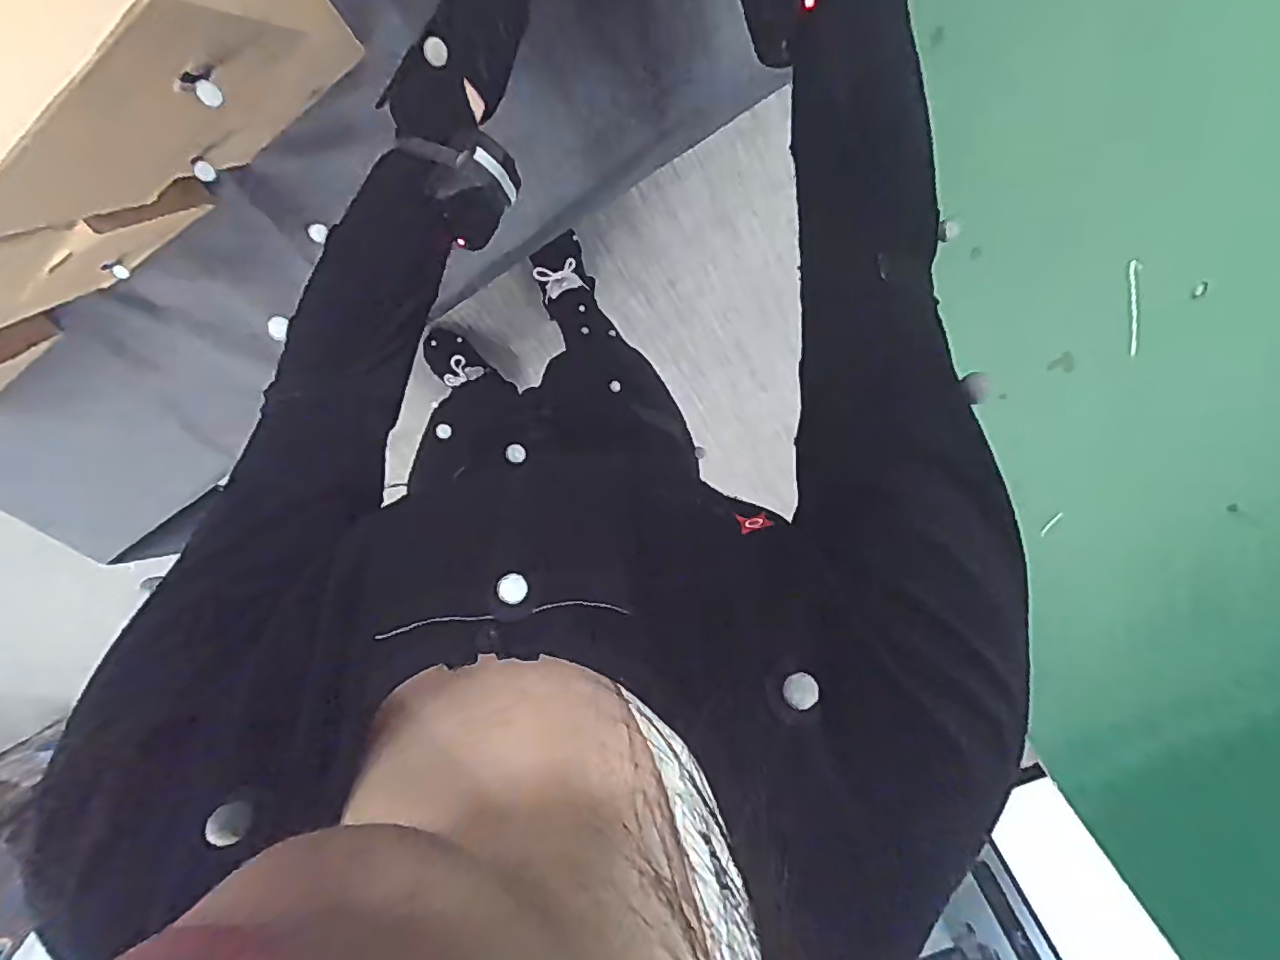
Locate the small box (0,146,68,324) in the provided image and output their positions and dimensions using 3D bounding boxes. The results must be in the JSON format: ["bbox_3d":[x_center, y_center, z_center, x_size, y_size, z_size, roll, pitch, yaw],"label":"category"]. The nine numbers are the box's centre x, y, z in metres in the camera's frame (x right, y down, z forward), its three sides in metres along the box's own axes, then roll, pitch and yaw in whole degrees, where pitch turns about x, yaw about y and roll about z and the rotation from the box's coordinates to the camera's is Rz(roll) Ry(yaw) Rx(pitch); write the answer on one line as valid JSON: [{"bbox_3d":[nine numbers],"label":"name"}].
[{"bbox_3d":[-0.509,-0.150,0.310,0.179,0.176,0.168,-34,124,17],"label":"small box"}]
